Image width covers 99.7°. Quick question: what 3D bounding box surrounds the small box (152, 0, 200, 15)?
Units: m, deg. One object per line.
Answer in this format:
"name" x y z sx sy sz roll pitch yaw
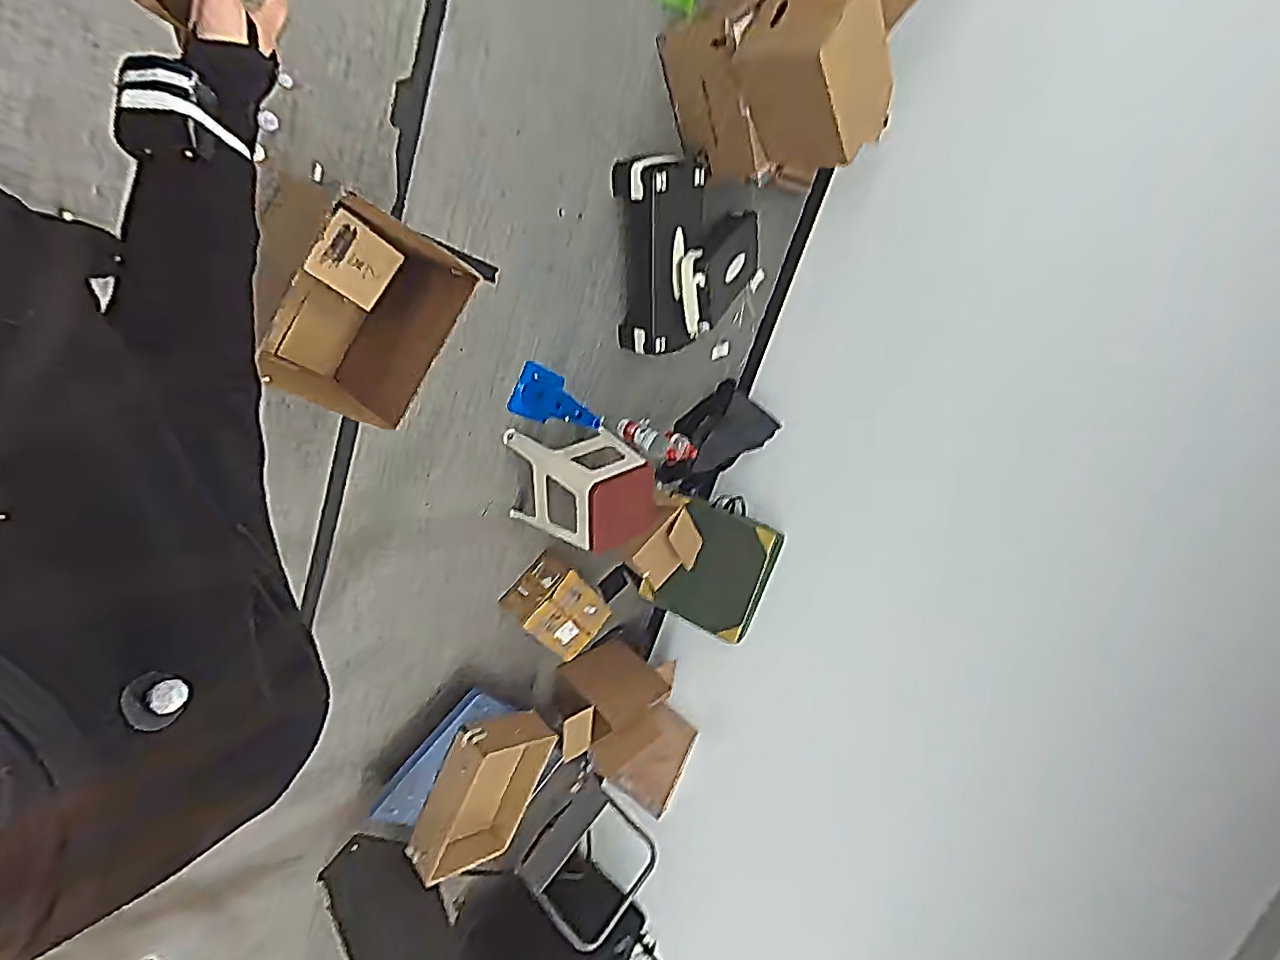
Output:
"small box" -0.414 -0.531 0.440 0.179 0.176 0.168 -47 153 -9
